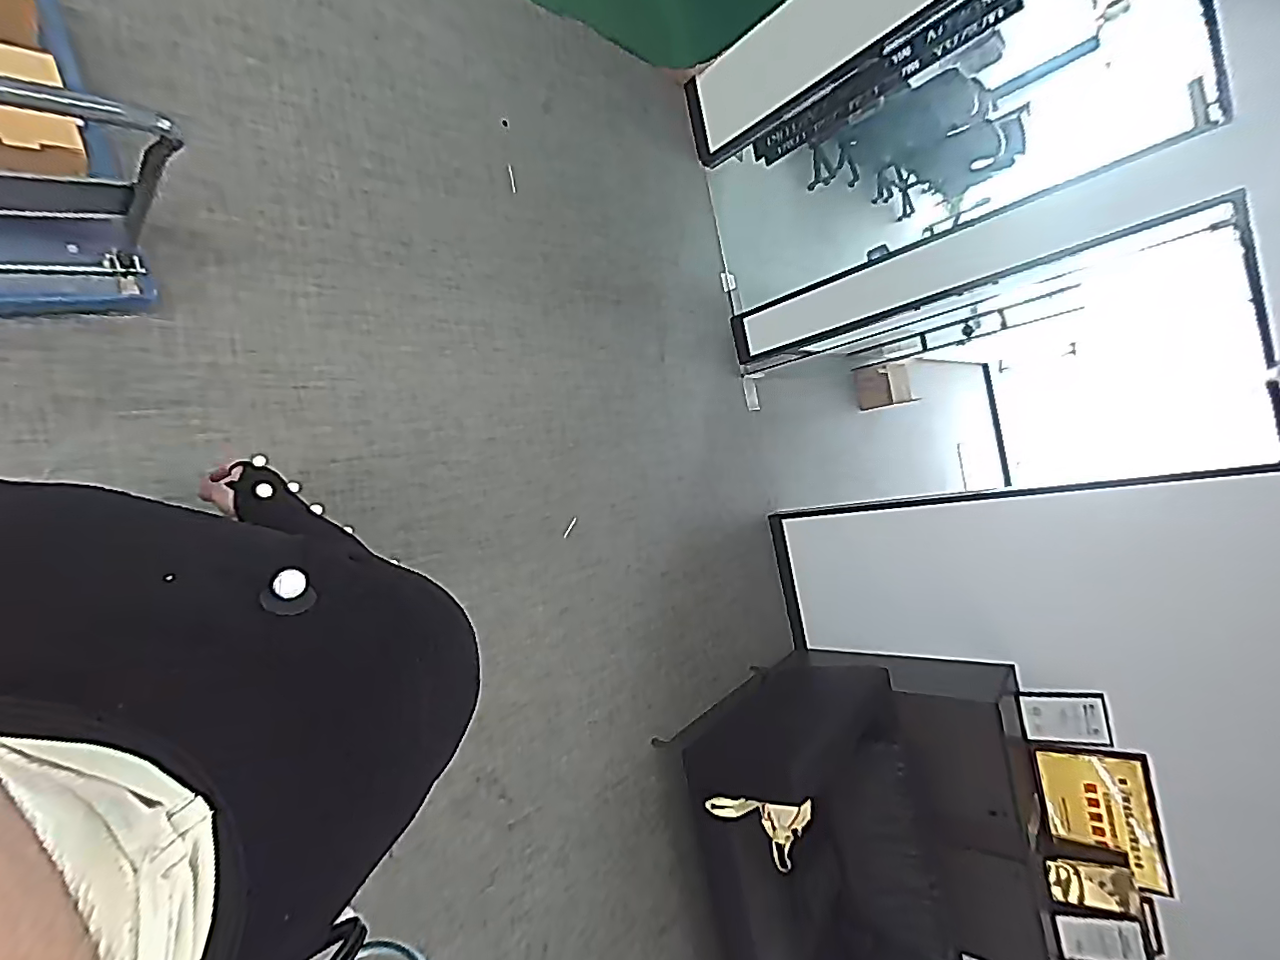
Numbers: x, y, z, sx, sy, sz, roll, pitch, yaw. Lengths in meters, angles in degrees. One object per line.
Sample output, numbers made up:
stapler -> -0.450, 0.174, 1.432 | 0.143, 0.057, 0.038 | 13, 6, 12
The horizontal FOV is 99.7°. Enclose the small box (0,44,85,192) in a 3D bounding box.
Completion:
small box -> -1.168, -0.668, 0.996 | 0.168, 0.176, 0.179 | -20, 98, -47
